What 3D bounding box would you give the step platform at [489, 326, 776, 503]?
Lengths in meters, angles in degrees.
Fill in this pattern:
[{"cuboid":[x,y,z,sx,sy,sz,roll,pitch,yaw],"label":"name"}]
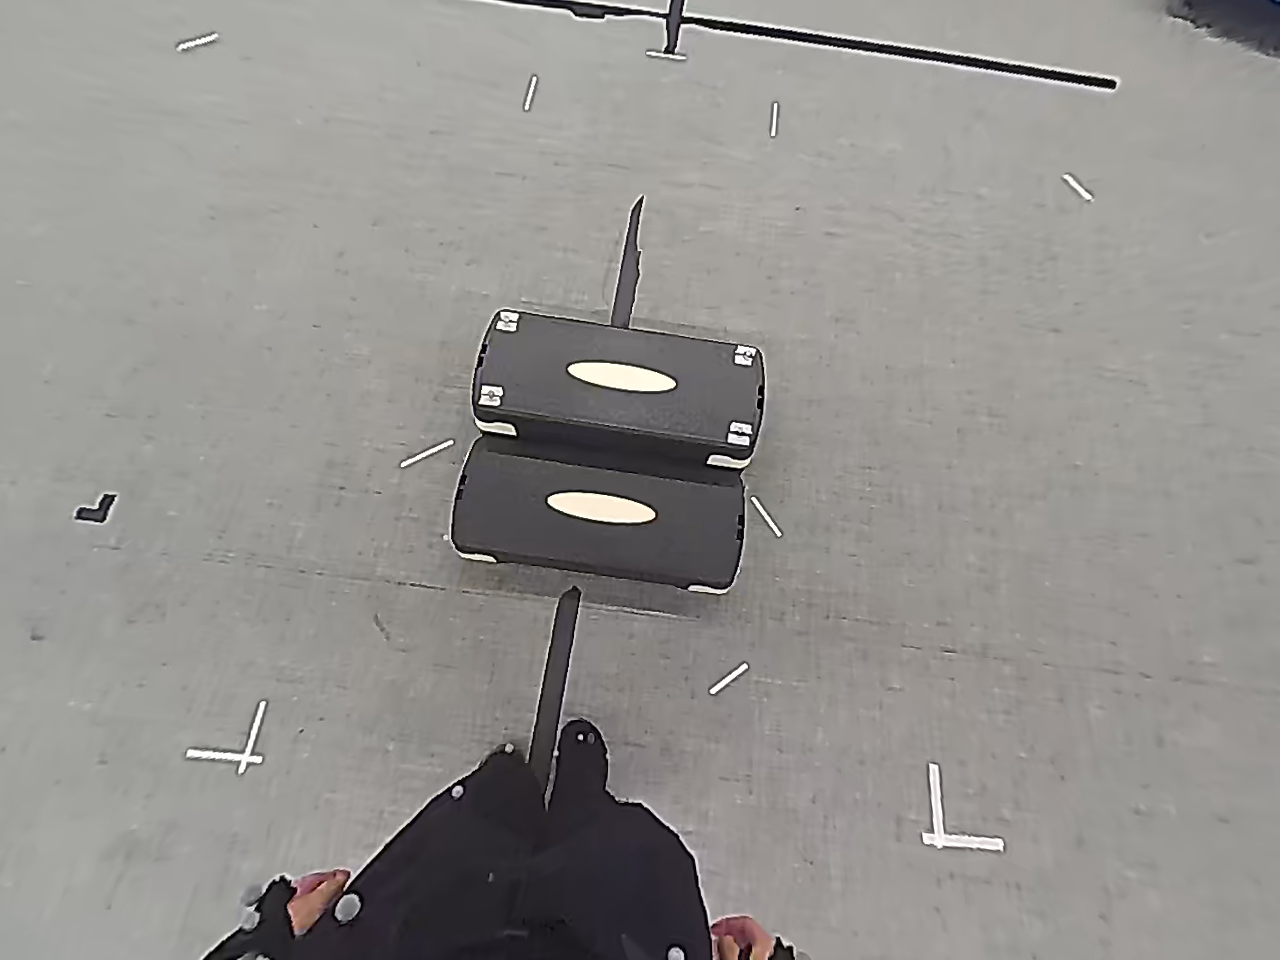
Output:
[{"cuboid":[-0.016,-0.159,1.335,0.684,0.204,0.286,12,70,0],"label":"step platform"}]
